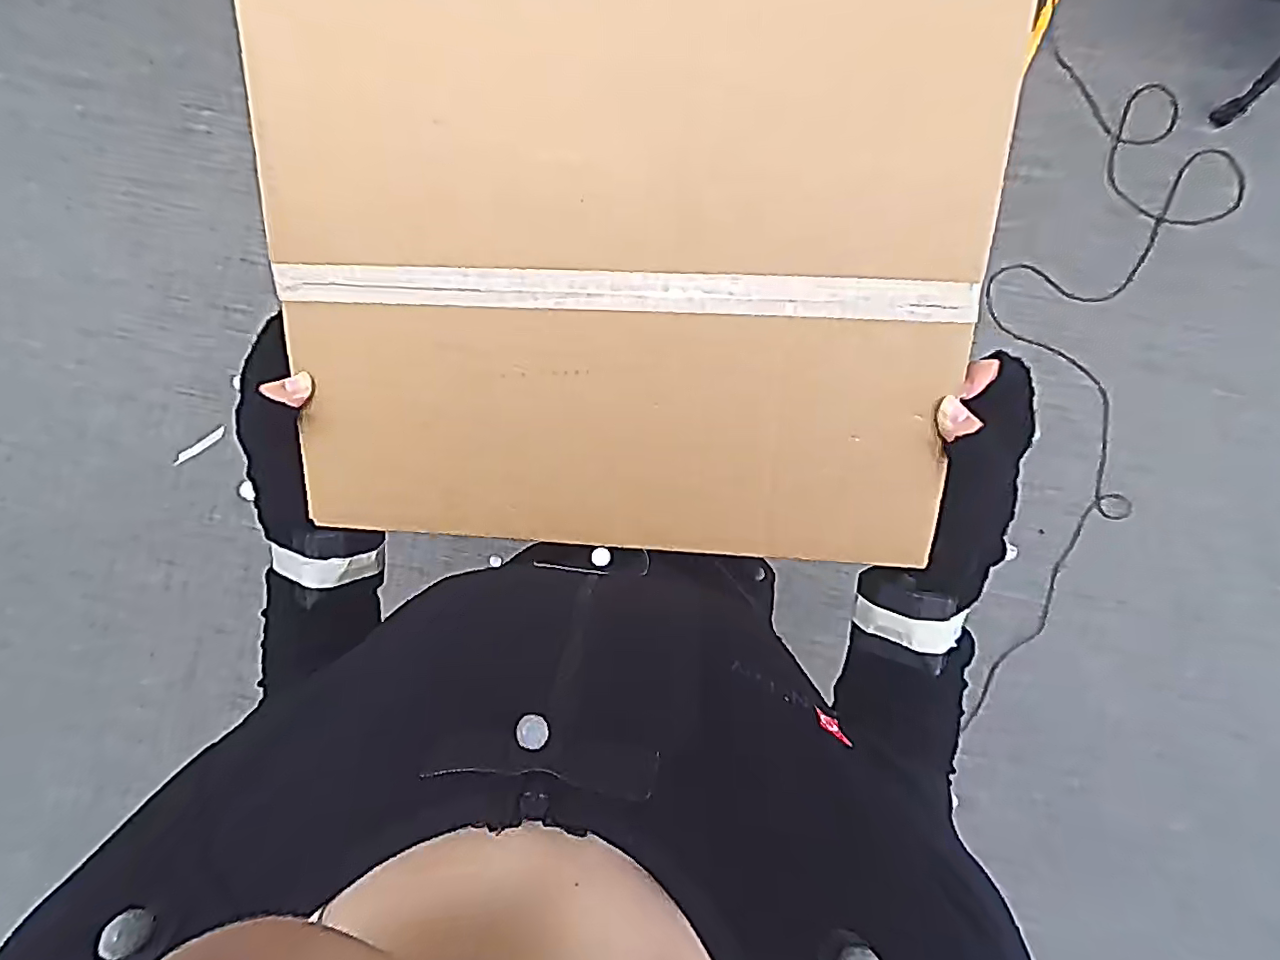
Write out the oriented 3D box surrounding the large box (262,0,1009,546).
[{"bbox_3d":[-0.005,-0.151,0.464,0.408,0.320,0.320,3,107,4],"label":"large box"}]
